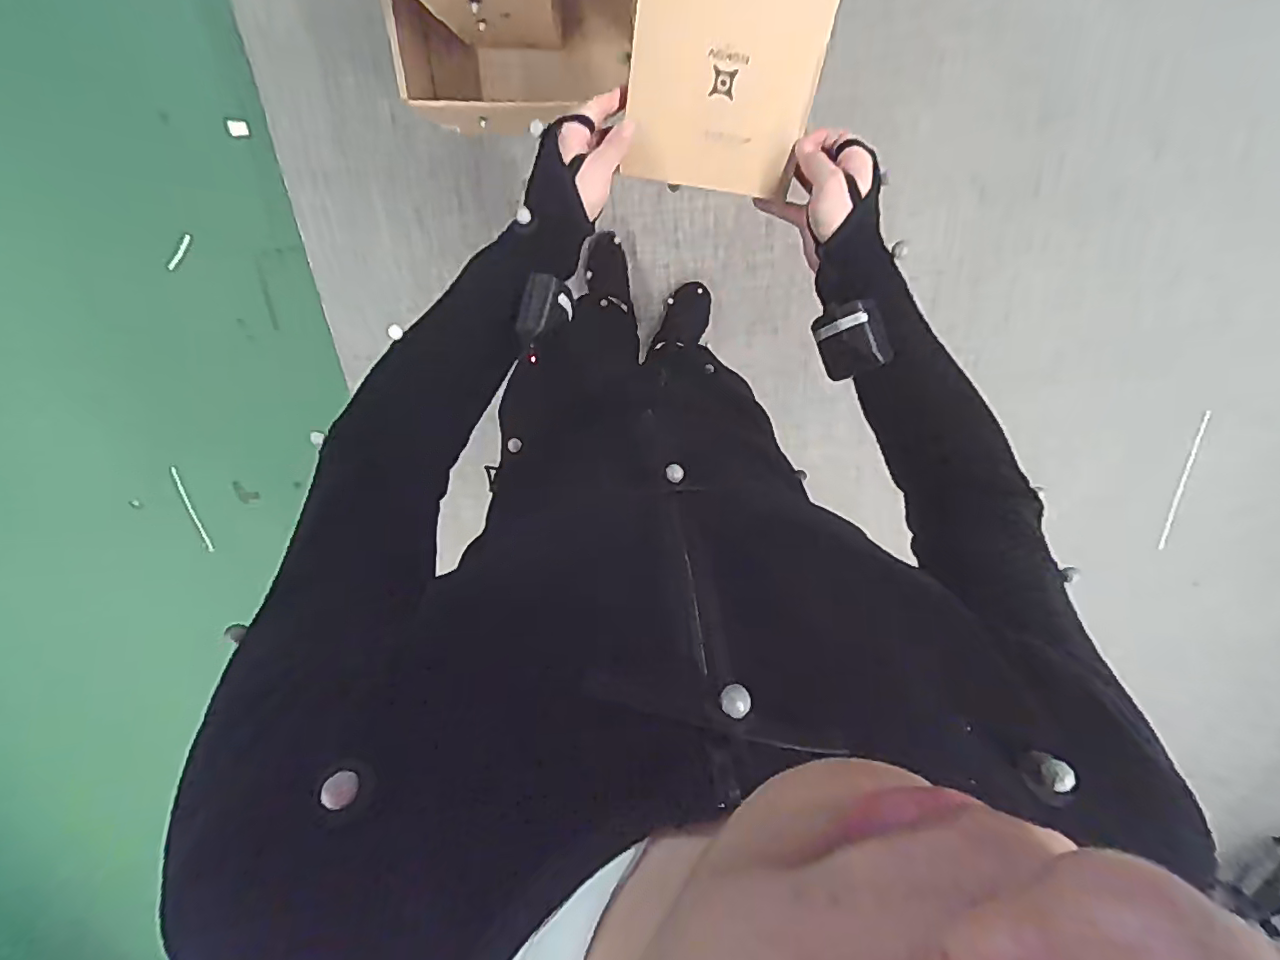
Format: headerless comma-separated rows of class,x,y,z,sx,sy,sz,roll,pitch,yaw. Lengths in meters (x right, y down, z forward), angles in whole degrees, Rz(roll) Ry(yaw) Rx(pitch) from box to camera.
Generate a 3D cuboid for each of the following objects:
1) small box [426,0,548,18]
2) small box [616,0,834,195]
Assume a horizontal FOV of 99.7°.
small box,-0.207,-0.697,0.657,0.168,0.176,0.179,1,115,-1
small box,0.068,-0.401,0.534,0.168,0.176,0.179,7,124,-5
